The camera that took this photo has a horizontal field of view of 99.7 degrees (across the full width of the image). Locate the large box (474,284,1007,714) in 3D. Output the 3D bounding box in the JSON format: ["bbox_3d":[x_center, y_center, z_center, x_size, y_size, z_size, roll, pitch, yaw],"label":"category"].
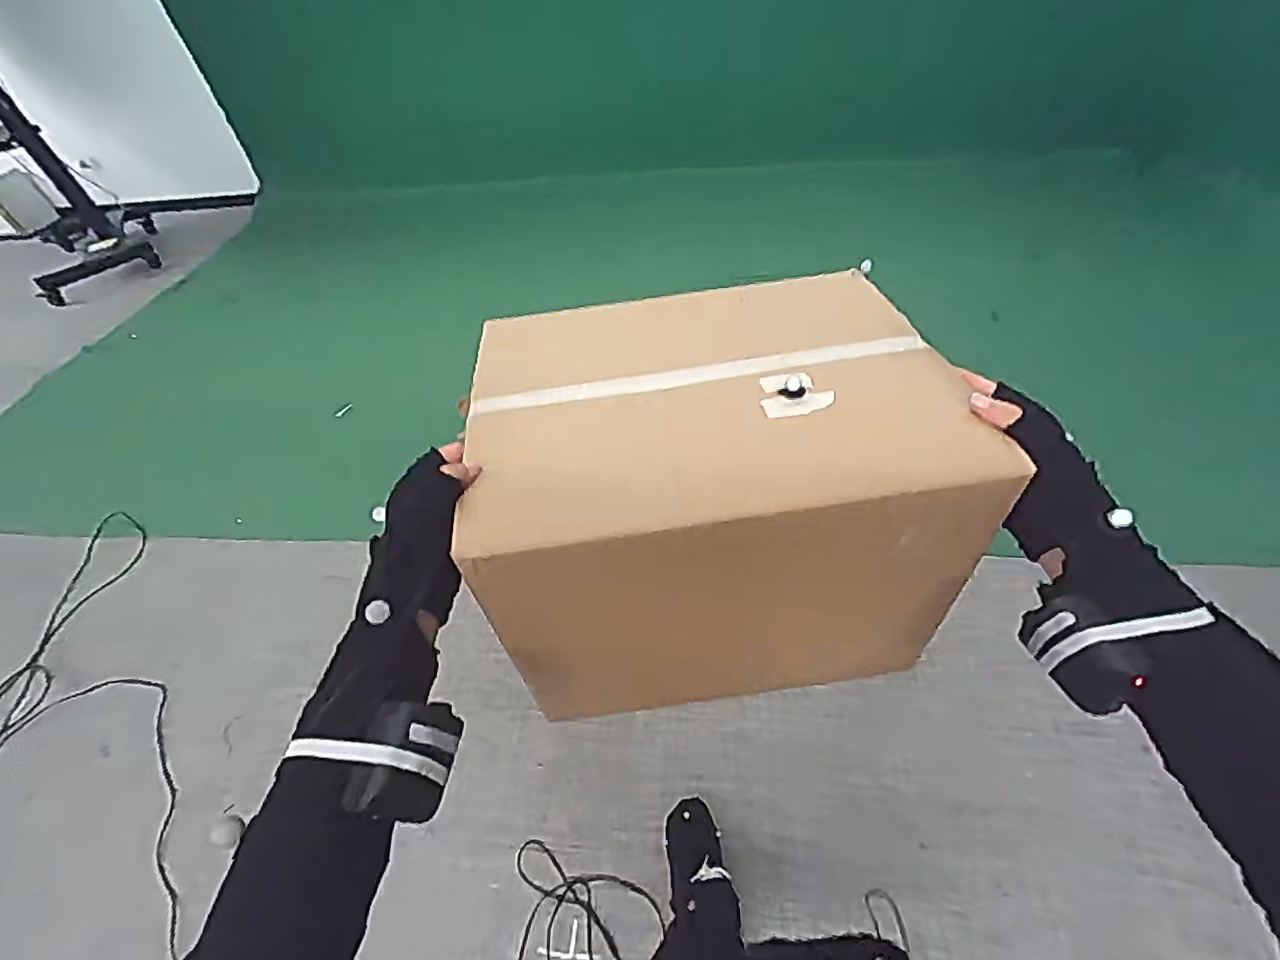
[{"bbox_3d":[0.067,0.020,0.596,0.408,0.320,0.320,-8,47,-2],"label":"large box"}]
